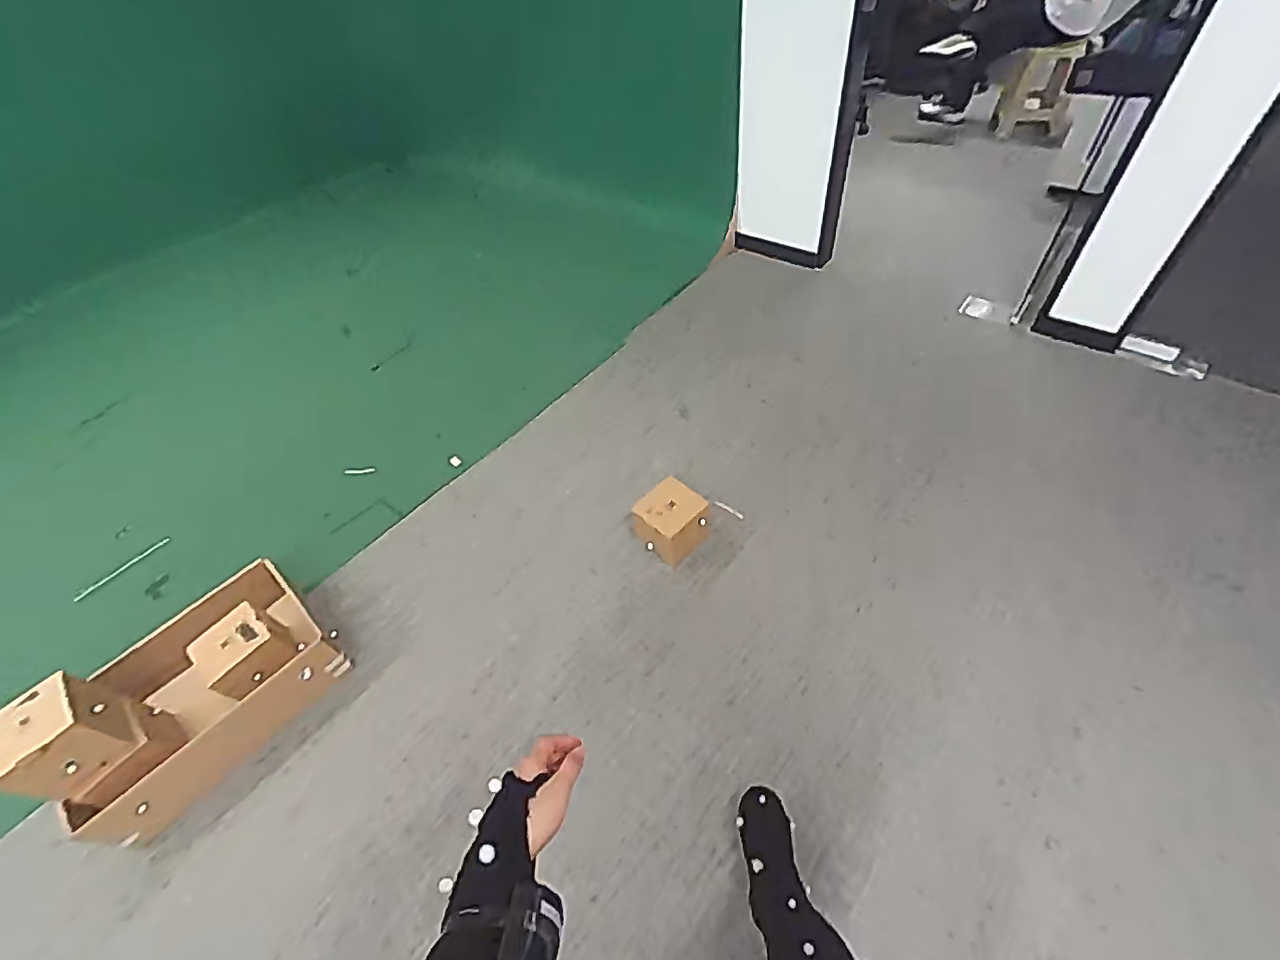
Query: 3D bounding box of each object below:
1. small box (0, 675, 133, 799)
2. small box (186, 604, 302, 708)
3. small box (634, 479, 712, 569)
[{"bbox_3d":[-1.290,0.575,1.200,0.179,0.176,0.168,35,63,29],"label":"small box"},{"bbox_3d":[-1.058,0.478,1.462,0.168,0.176,0.179,33,63,28],"label":"small box"},{"bbox_3d":[0.102,0.137,1.657,0.179,0.176,0.168,-39,56,-22],"label":"small box"}]
